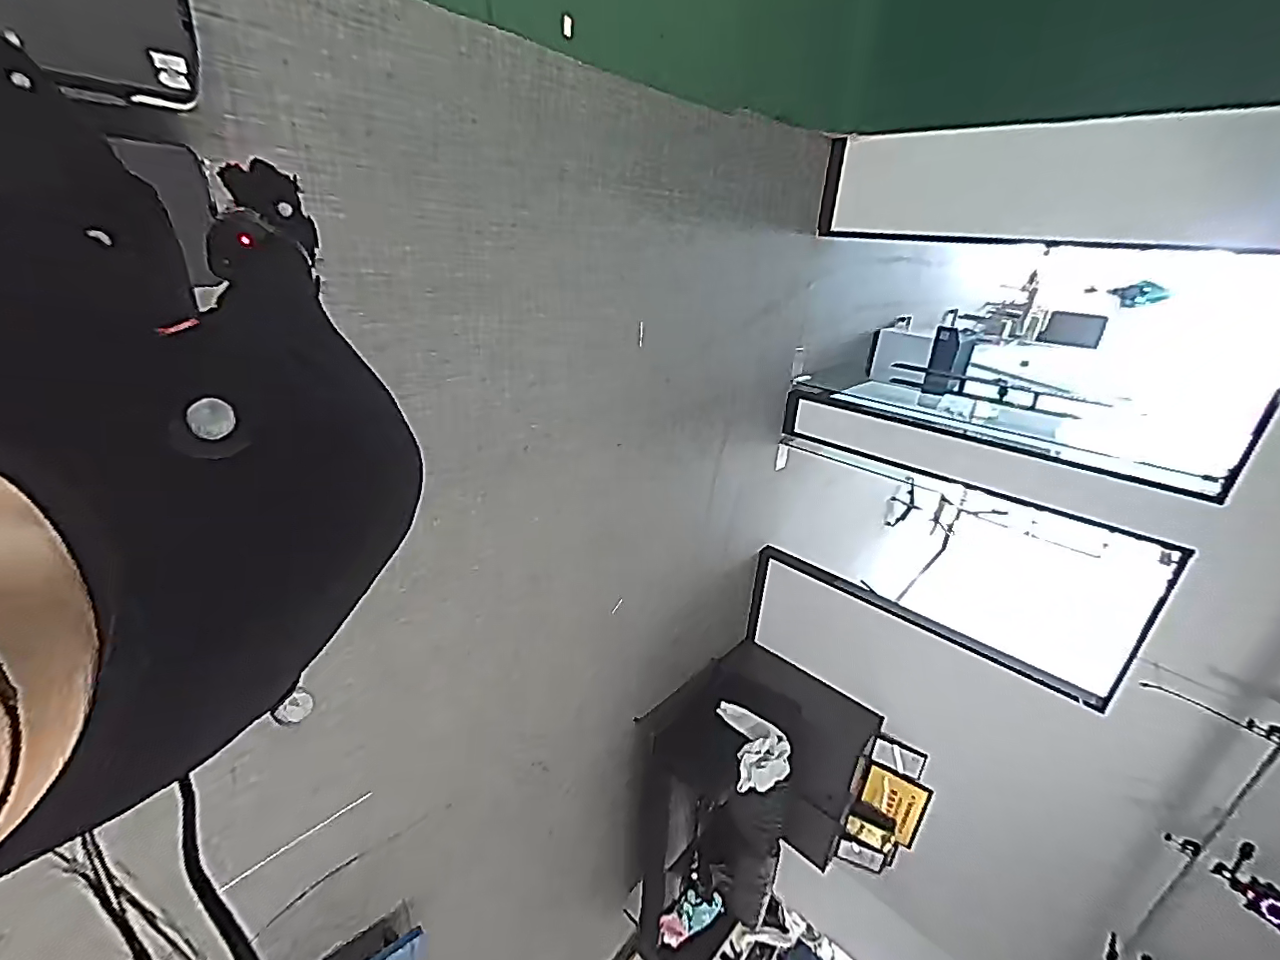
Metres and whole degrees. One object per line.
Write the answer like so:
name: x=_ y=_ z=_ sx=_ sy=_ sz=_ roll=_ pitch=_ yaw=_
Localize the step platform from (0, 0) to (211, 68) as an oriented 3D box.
step platform: x=-0.951 y=-0.731 z=0.627 sx=0.684 sy=0.204 sz=0.286 roll=-20 pitch=124 yaw=-43
